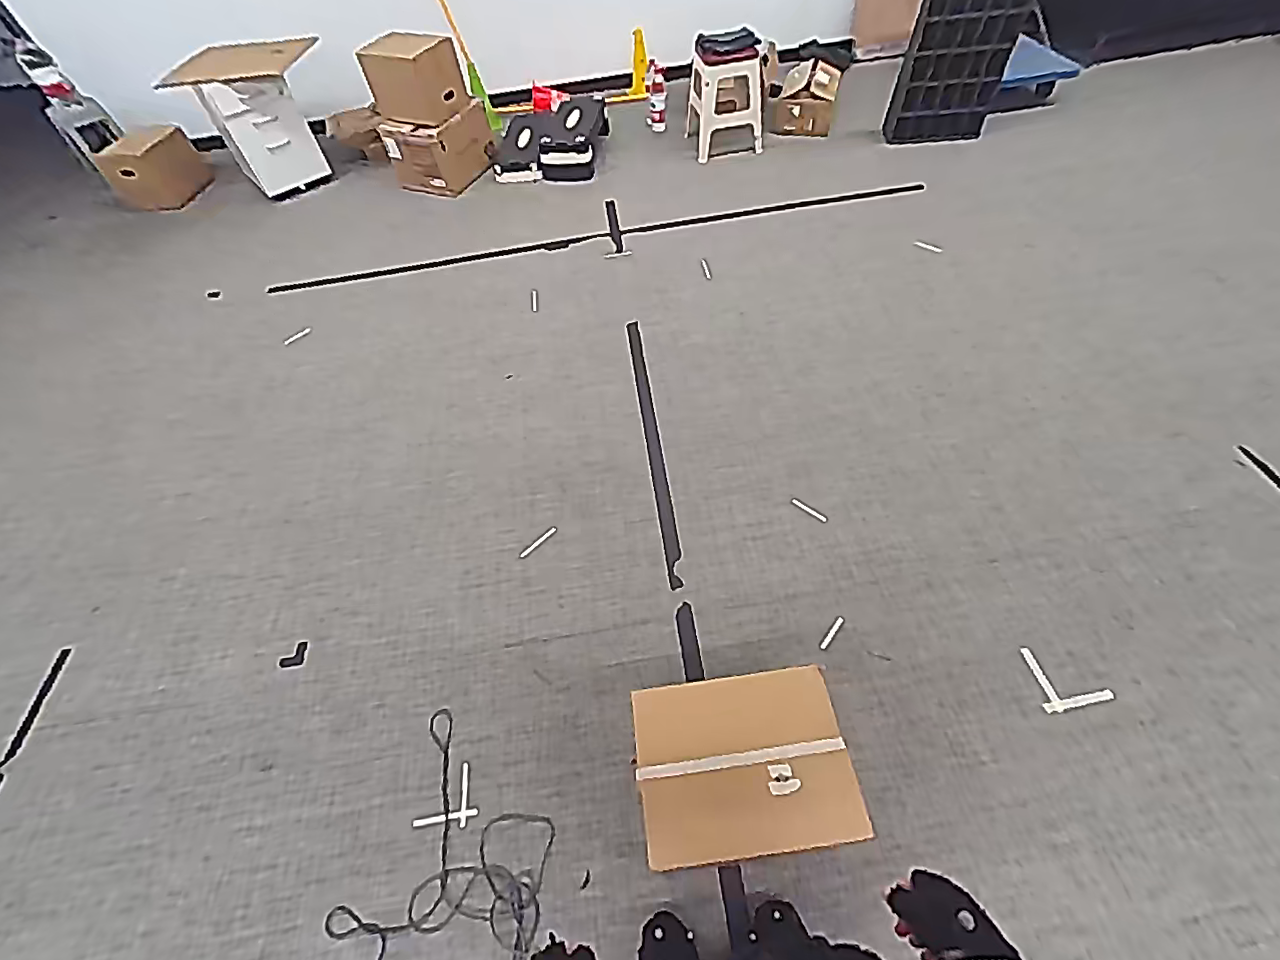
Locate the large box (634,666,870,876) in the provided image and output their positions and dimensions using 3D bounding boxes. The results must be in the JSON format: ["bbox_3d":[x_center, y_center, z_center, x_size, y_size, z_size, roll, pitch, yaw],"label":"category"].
[{"bbox_3d":[0.213,0.640,1.179,0.408,0.320,0.320,-8,53,-1],"label":"large box"}]
